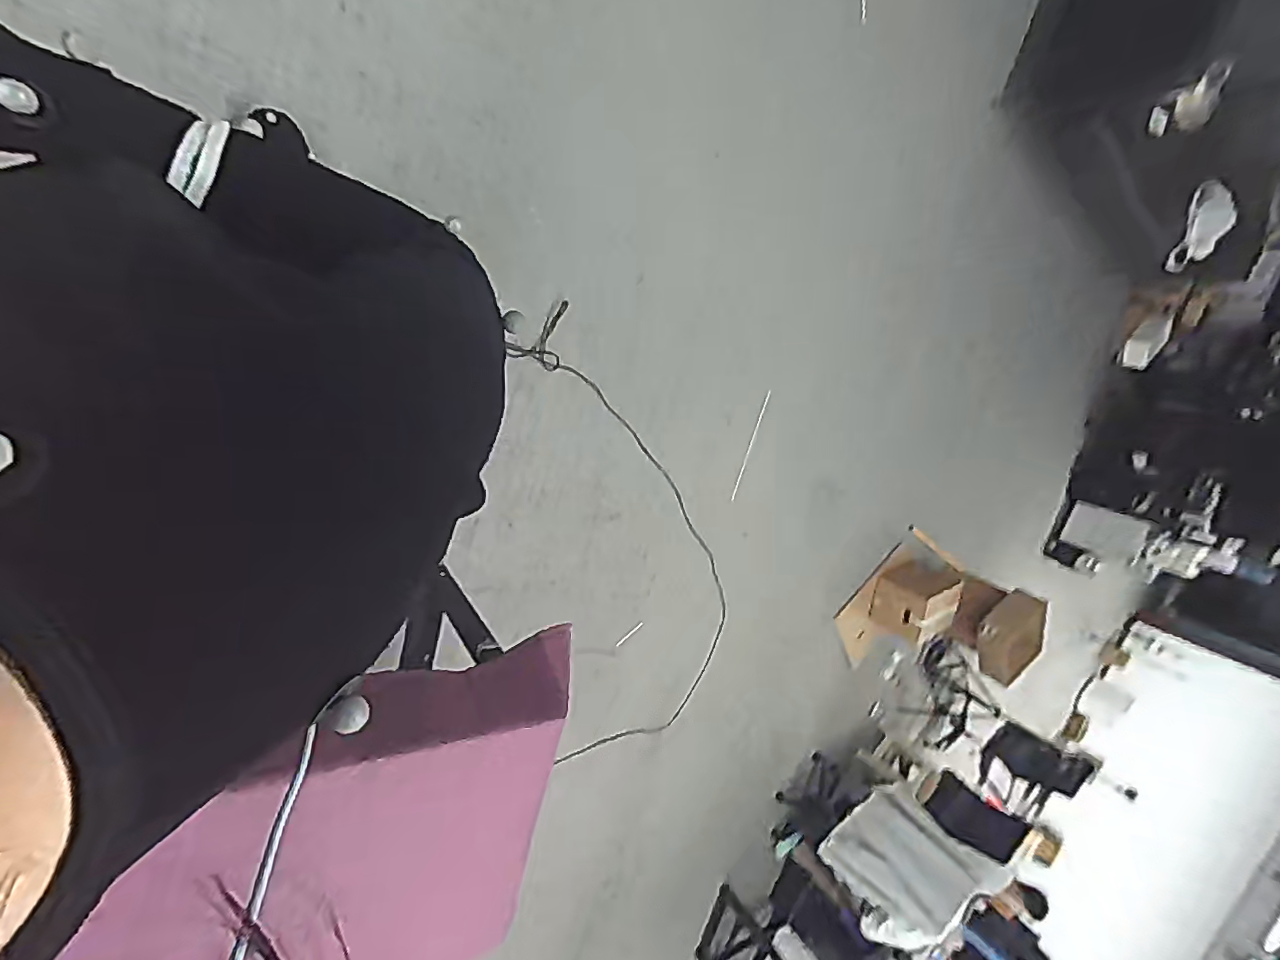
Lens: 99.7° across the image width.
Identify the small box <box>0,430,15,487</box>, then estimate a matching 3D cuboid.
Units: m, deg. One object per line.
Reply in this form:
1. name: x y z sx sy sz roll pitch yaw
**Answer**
1. small box: -1.232 -0.013 0.927 0.168 0.176 0.179 20 97 -40
